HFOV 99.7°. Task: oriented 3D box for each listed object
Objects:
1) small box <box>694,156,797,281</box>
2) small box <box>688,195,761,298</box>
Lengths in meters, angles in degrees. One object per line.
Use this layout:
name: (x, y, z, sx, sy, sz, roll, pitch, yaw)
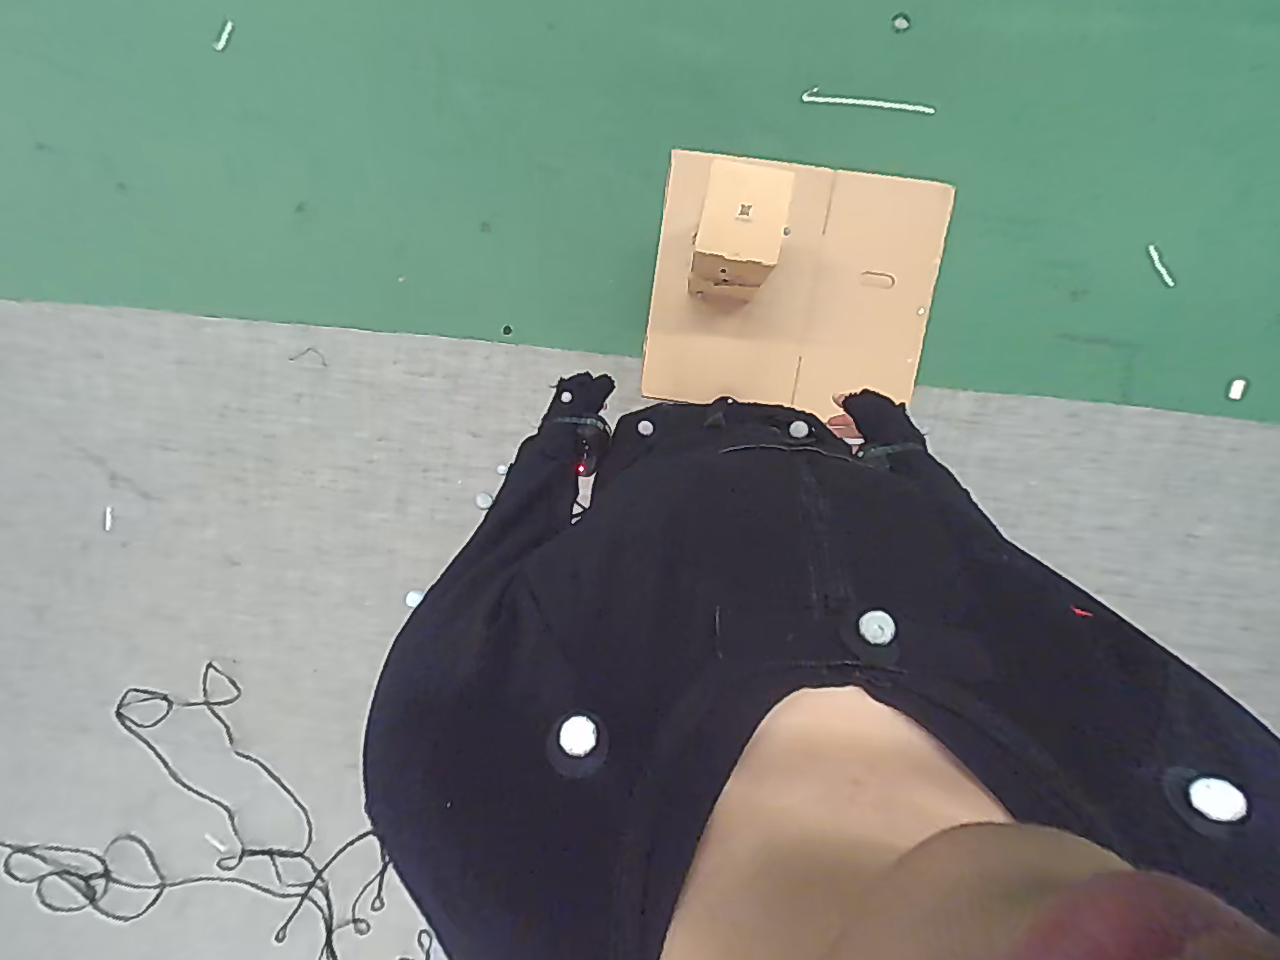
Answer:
small box: (0.208, -0.529, 1.116, 0.168, 0.176, 0.179, 11, 99, 2)
small box: (0.210, -0.542, 1.279, 0.168, 0.176, 0.179, 10, 98, 2)
